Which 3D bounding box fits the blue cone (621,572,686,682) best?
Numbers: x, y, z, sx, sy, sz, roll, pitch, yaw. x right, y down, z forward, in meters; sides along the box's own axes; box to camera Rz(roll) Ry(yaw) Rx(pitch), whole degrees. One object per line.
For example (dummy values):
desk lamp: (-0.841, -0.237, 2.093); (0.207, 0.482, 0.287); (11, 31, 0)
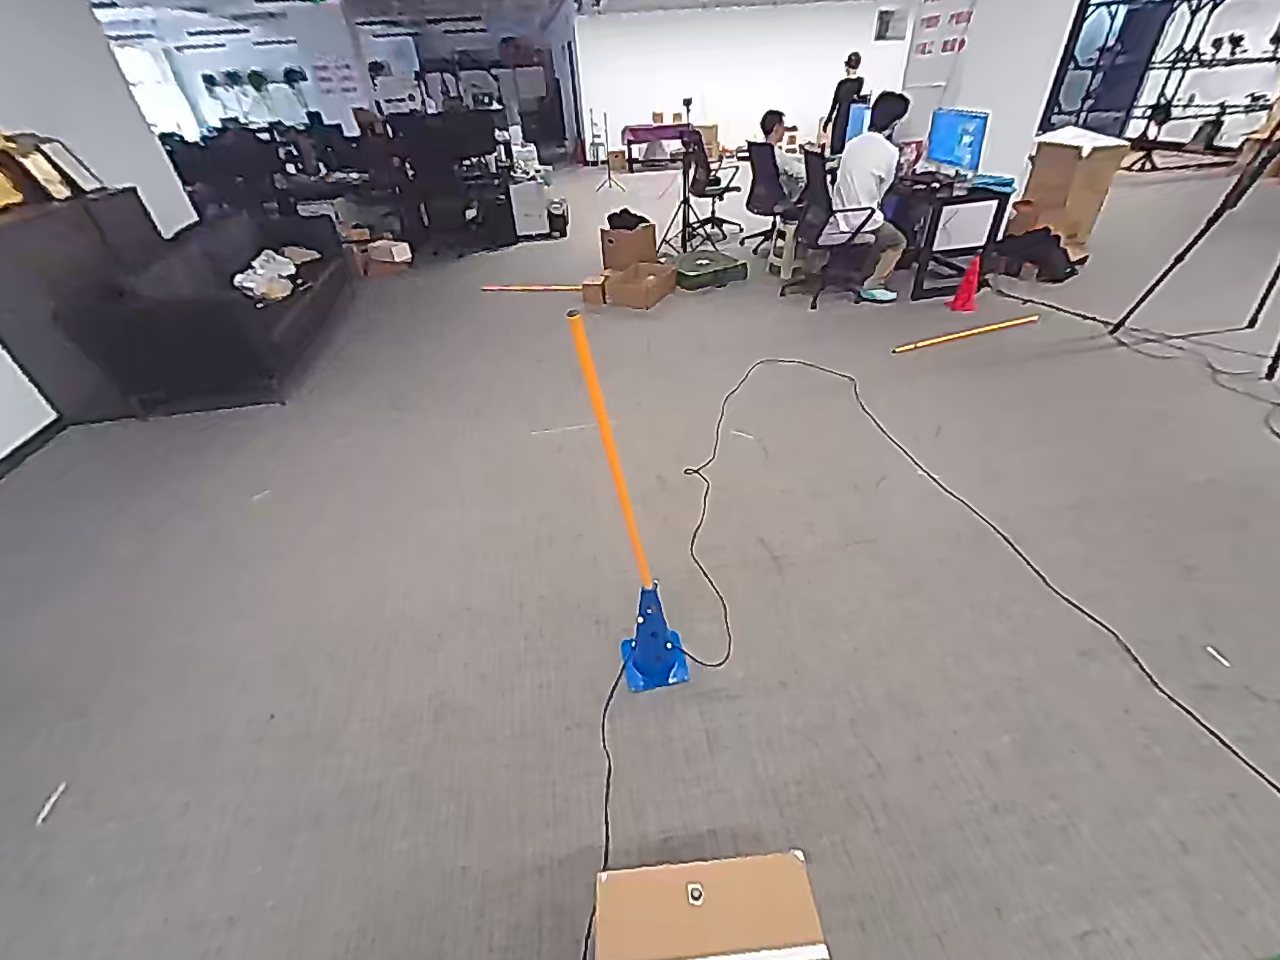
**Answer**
blue cone: (0.031, 0.431, 1.658); (0.193, 0.380, 0.192); (-12, 37, -7)
